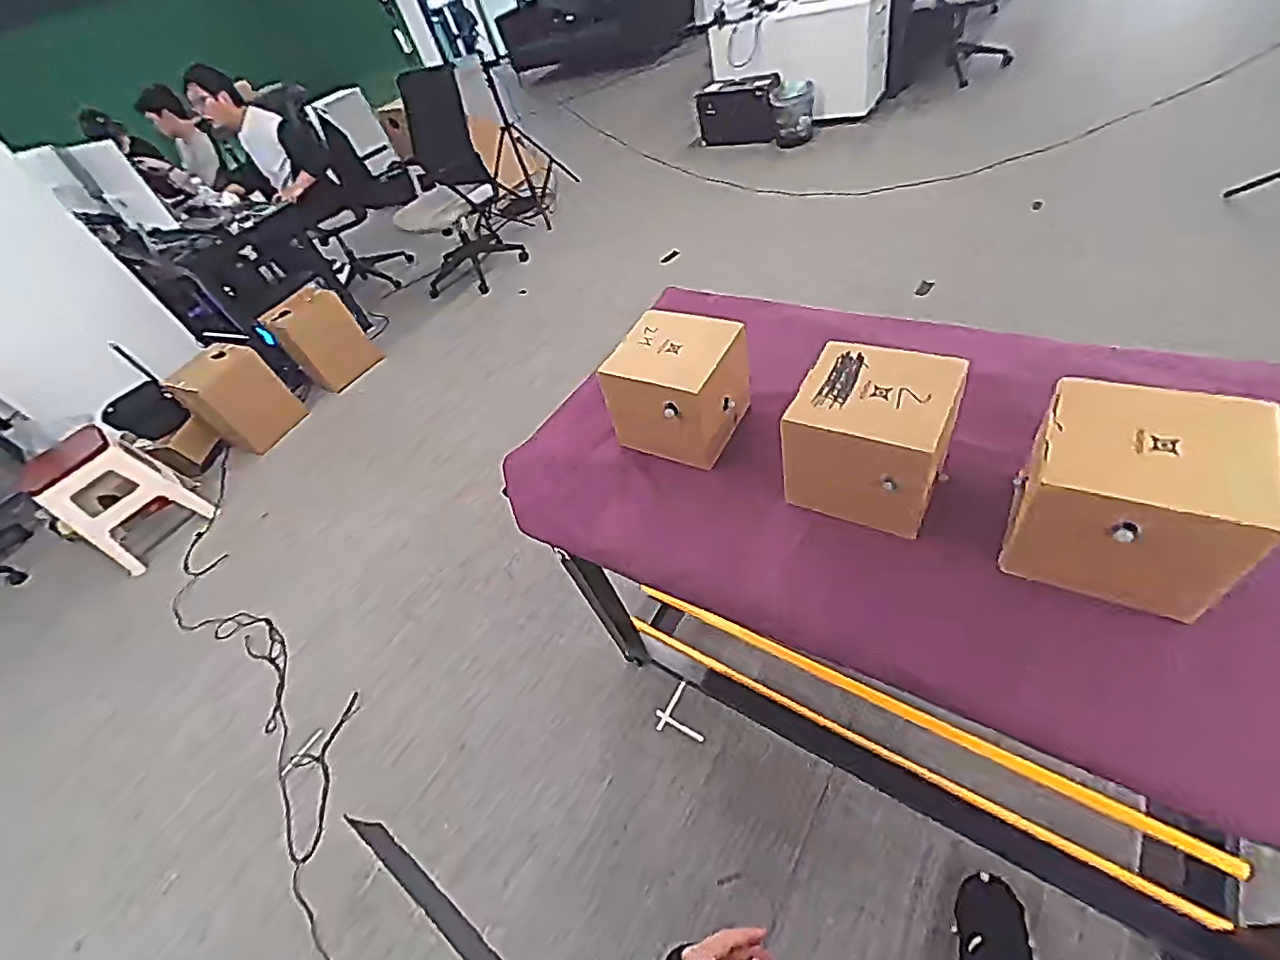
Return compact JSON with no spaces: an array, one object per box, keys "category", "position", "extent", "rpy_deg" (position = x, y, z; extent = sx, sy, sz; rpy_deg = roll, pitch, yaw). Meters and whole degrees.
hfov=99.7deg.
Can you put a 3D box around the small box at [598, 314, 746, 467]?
[{"category":"small box","position":[0.063,-0.143,0.883],"extent":[0.179,0.176,0.168],"rpy_deg":[17,57,28]}]

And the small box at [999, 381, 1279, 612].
[{"category":"small box","position":[0.522,0.020,0.587],"extent":[0.179,0.176,0.168],"rpy_deg":[16,56,31]}]
